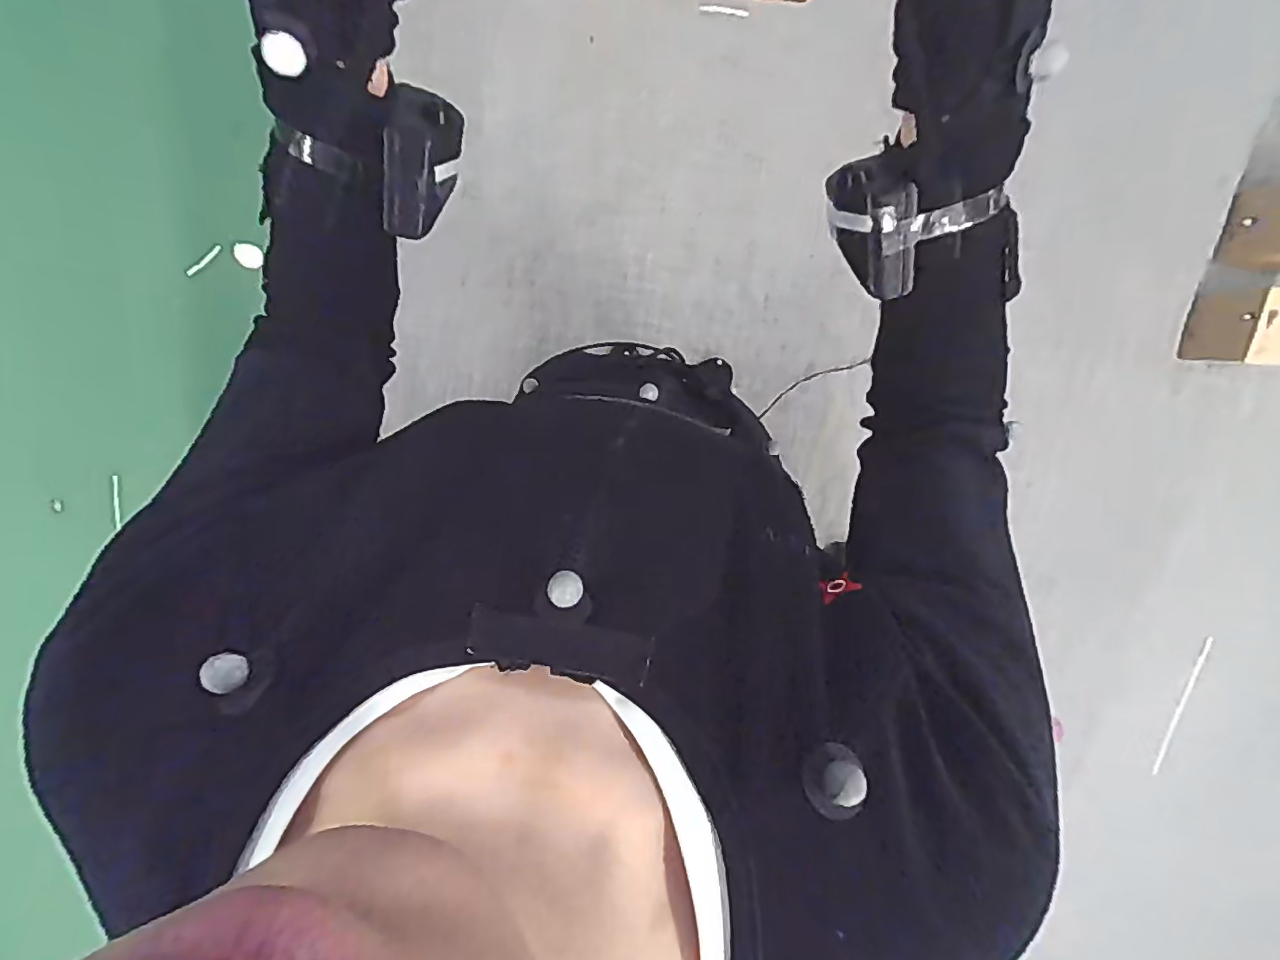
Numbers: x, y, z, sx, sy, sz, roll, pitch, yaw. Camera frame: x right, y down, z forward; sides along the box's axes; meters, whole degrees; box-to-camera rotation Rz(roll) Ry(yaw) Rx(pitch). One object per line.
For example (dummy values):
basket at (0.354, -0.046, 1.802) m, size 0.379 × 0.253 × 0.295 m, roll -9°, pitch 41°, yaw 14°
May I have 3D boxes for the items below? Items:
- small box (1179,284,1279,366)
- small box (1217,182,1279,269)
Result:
small box at (1.446, -0.358, 1.264) m, size 0.179 × 0.176 × 0.168 m, roll 5°, pitch 104°, yaw 0°
small box at (1.482, -0.574, 1.208) m, size 0.179 × 0.176 × 0.168 m, roll 8°, pitch 104°, yaw 0°
